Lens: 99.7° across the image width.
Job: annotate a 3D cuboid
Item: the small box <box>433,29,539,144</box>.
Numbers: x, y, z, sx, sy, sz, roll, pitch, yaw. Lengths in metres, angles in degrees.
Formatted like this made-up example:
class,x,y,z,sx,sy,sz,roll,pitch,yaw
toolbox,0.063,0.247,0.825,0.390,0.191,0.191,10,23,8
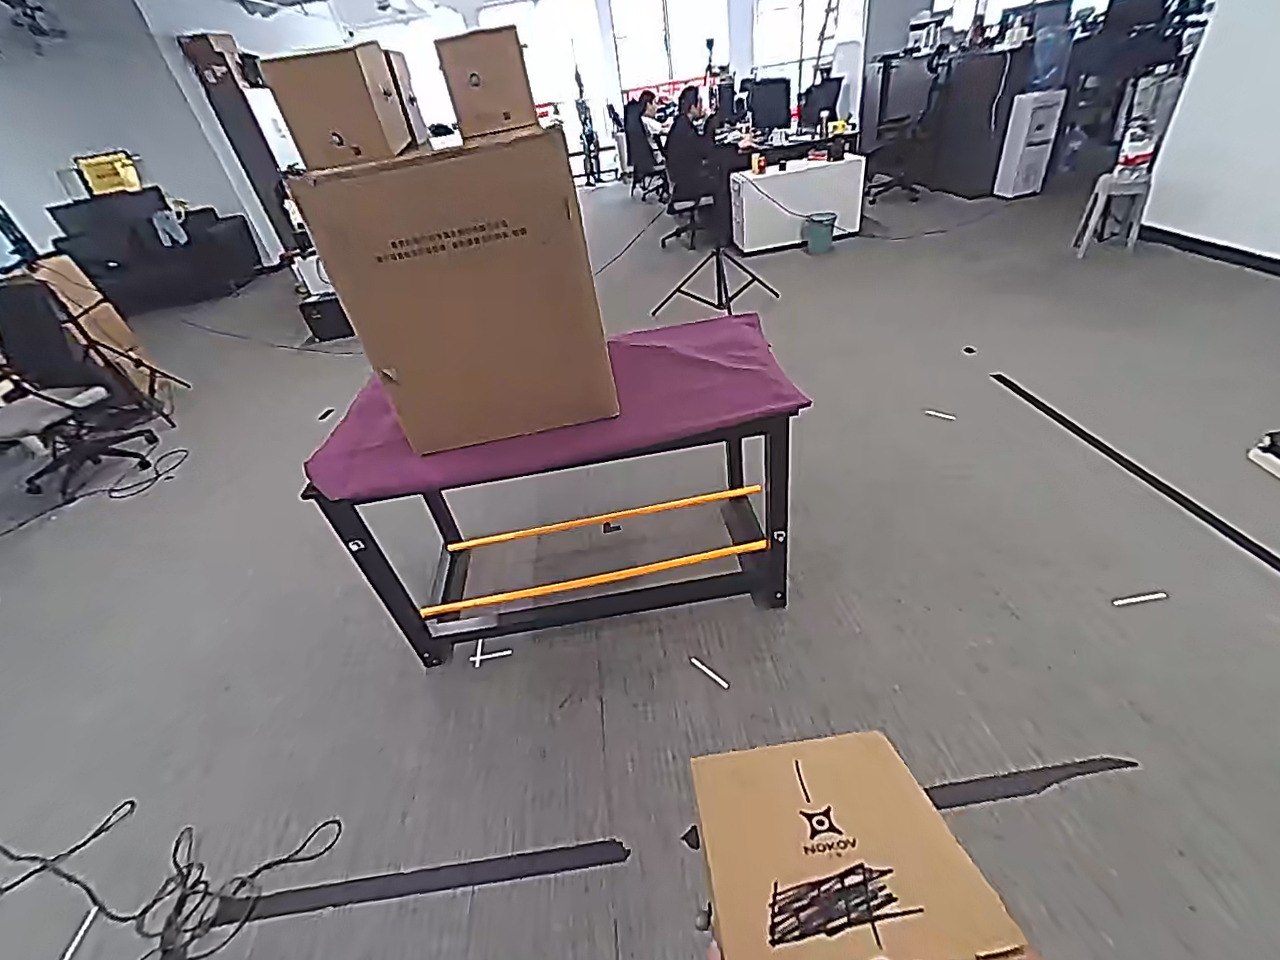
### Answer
class,x,y,z,sx,sy,sz,roll,pitch,yaw
small box,-0.317,-0.828,1.149,0.168,0.176,0.179,-13,36,-2

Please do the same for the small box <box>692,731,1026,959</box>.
class,x,y,z,sx,sy,sz,roll,pitch,yaw
small box,0.138,0.321,0.390,0.168,0.176,0.179,-8,14,0
